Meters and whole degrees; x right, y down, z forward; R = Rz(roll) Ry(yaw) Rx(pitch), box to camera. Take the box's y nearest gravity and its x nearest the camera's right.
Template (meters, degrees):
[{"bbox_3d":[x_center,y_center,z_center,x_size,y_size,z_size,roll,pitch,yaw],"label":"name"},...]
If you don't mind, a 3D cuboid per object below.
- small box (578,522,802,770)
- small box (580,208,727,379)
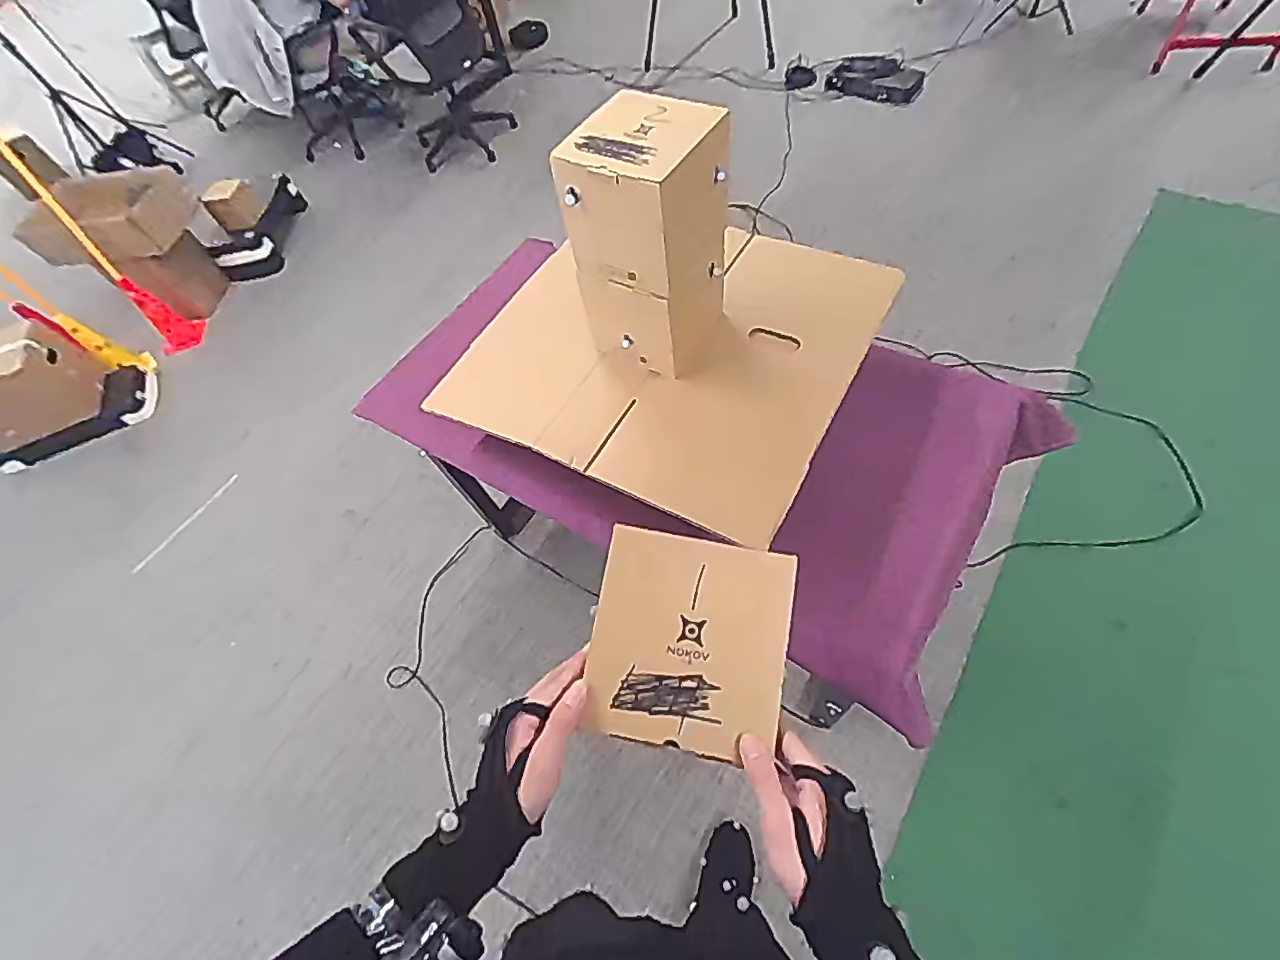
[{"bbox_3d":[0.048,0.154,0.531,0.168,0.176,0.179,10,75,5],"label":"small box"},{"bbox_3d":[0.028,-0.301,0.883,0.168,0.176,0.179,26,67,21],"label":"small box"}]
